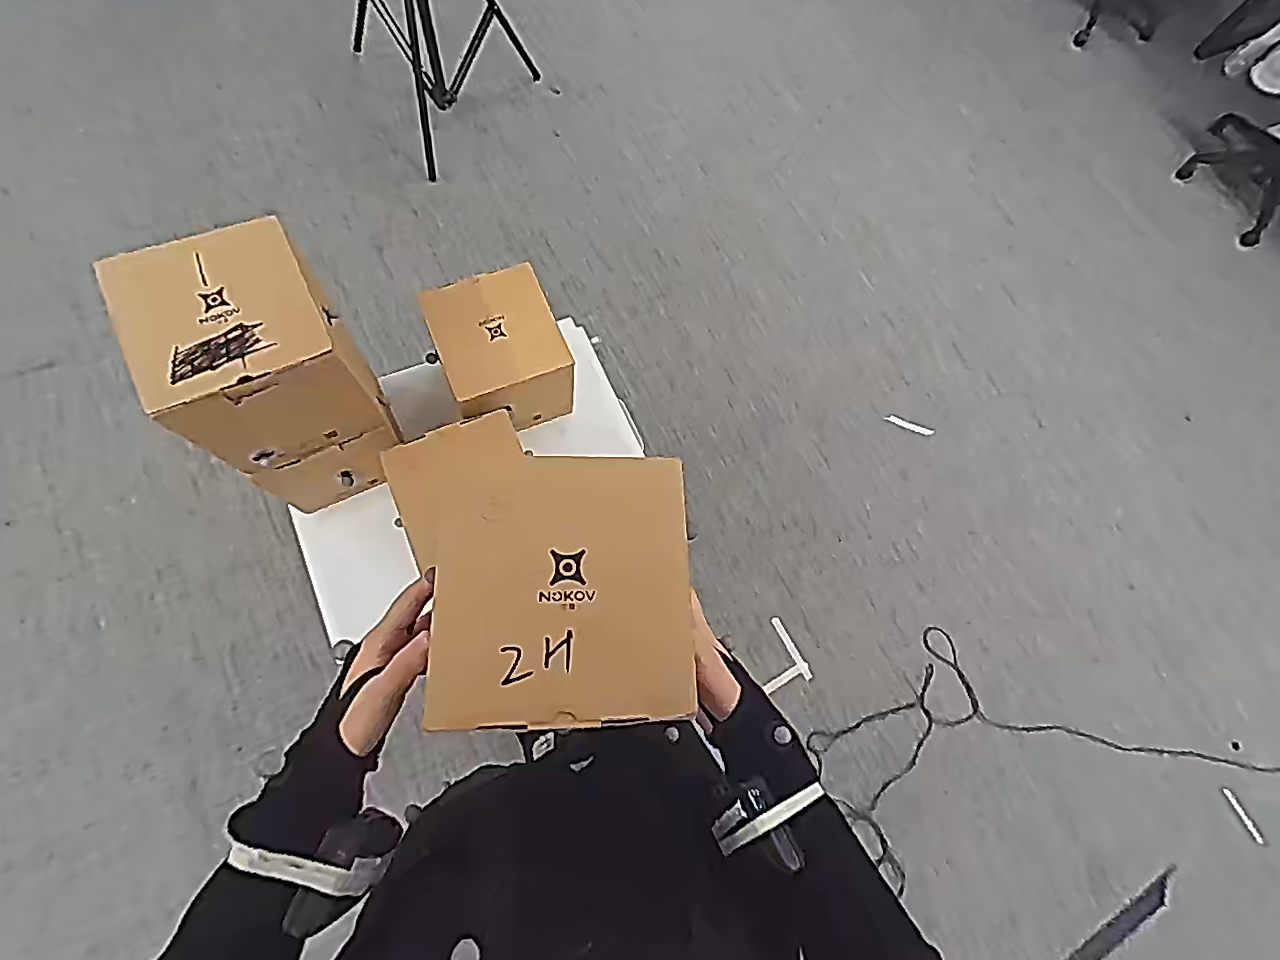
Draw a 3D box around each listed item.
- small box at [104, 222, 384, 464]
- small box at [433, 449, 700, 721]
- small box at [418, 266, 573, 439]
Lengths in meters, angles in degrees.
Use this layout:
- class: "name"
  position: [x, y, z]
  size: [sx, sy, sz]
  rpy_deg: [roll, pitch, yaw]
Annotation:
- class: "small box"
  position: [-0.410, -0.134, 0.592]
  size: [0.168, 0.176, 0.179]
  rpy_deg: [-26, 77, -15]
- class: "small box"
  position: [-0.056, 0.087, 0.431]
  size: [0.168, 0.176, 0.179]
  rpy_deg: [0, 72, -7]
- class: "small box"
  position: [-0.205, -0.177, 0.811]
  size: [0.168, 0.176, 0.179]
  rpy_deg: [-23, 77, -14]
